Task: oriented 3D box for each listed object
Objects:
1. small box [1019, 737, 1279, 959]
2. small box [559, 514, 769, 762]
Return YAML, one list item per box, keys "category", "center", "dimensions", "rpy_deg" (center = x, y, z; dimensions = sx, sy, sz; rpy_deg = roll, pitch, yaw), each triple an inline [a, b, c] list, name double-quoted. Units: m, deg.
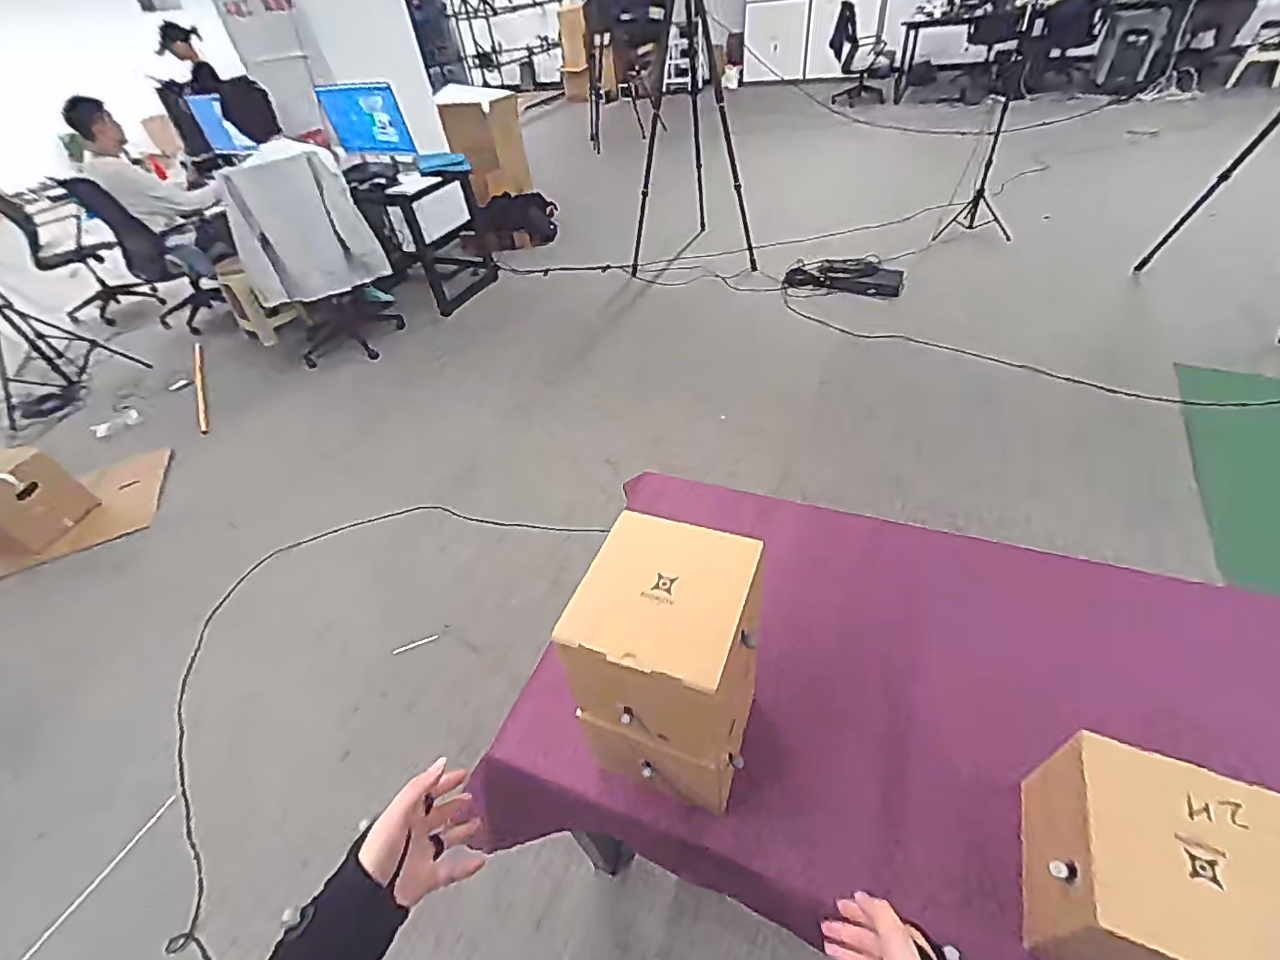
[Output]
- category: "small box"
  center: [0.494, 0.395, 0.525]
  dimensions: [0.168, 0.176, 0.179]
  rpy_deg: [15, 48, 22]
- category: "small box"
  center: [0.035, 0.169, 0.593]
  dimensions: [0.168, 0.176, 0.179]
  rpy_deg: [12, 47, 21]
